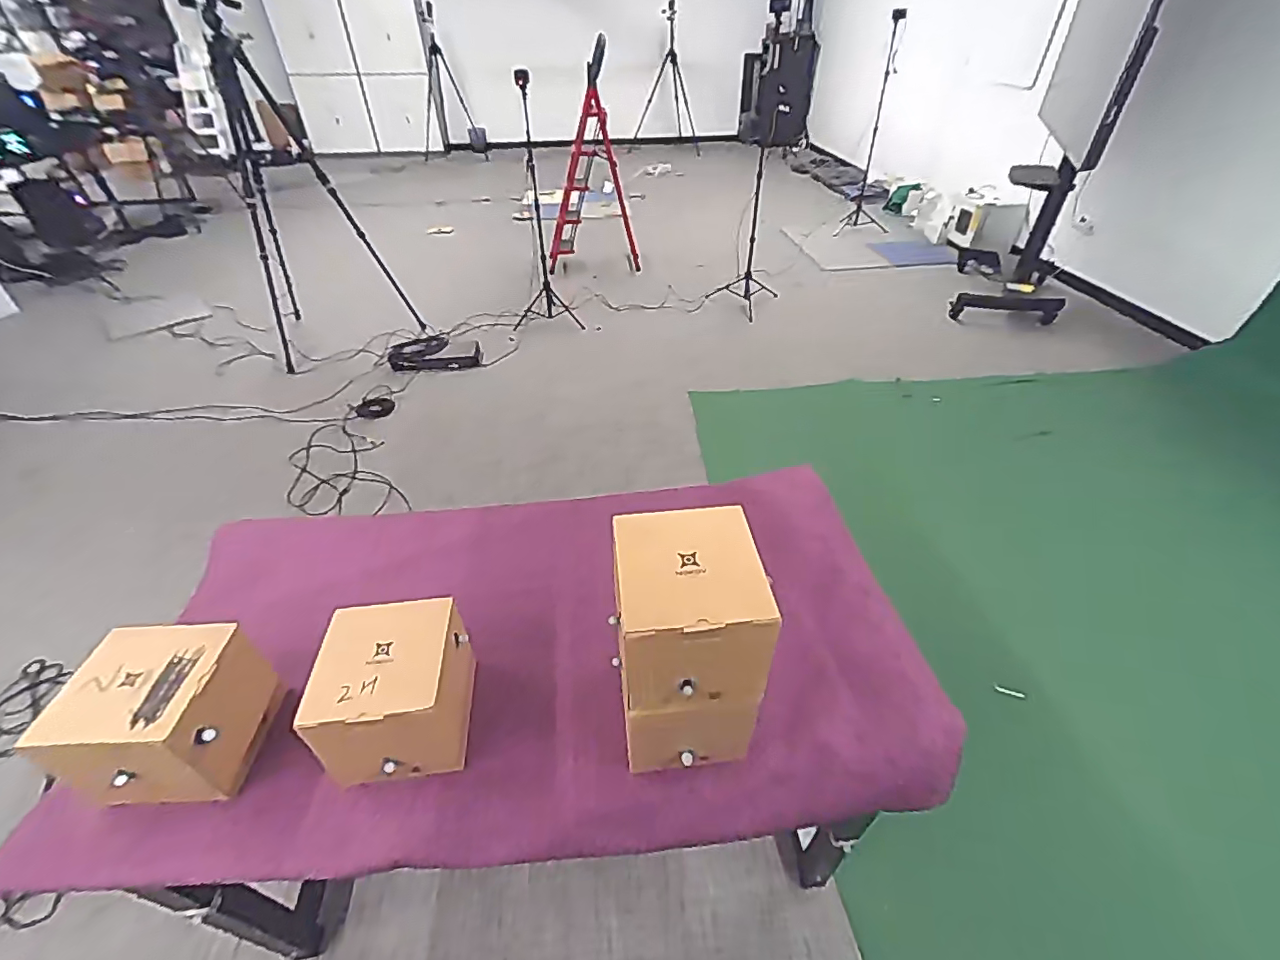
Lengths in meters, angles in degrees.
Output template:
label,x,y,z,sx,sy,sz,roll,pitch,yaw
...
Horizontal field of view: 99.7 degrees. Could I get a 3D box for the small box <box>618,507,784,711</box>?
label,x,y,z,sx,sy,sz,roll,pitch,yaw
small box,0.060,0.156,0.668,0.168,0.176,0.179,-5,41,-5

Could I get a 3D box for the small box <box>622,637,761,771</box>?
label,x,y,z,sx,sy,sz,roll,pitch,yaw
small box,0.060,0.284,0.769,0.168,0.176,0.179,-4,41,-4

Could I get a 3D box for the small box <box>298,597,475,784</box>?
label,x,y,z,sx,sy,sz,roll,pitch,yaw
small box,-0.335,0.292,0.759,0.168,0.176,0.179,-6,40,-5
